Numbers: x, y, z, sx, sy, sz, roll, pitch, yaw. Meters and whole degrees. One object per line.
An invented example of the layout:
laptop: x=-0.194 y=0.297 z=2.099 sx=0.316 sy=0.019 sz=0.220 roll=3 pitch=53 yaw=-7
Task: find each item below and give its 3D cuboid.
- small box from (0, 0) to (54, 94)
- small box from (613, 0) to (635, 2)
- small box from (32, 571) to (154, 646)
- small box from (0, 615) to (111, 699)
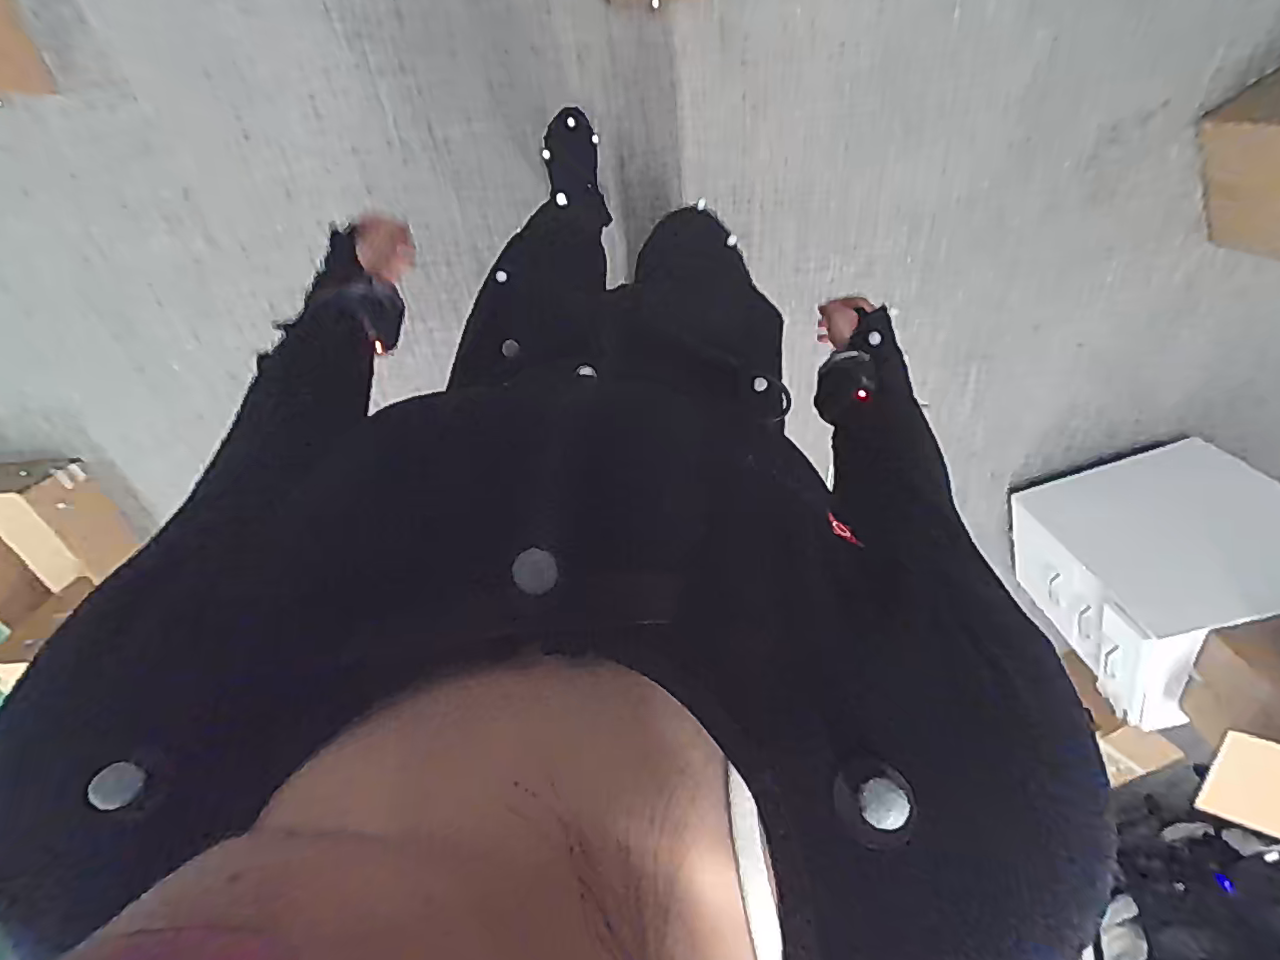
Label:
small box: x=-1.237 y=-0.796 z=0.960 sx=0.168 sy=0.176 sz=0.179 roll=-1 pitch=125 yaw=-1
small box: x=0.025 y=-0.937 z=0.917 sx=0.179 sy=0.176 sz=0.168 roll=-4 pitch=125 yaw=2
small box: x=-1.717 y=0.411 z=1.711 sx=0.179 sy=0.176 sz=0.168 roll=-8 pitch=125 yaw=2
small box: x=-1.722 y=0.513 z=1.582 sx=0.179 sy=0.176 sz=0.168 roll=-4 pitch=125 yaw=-1
